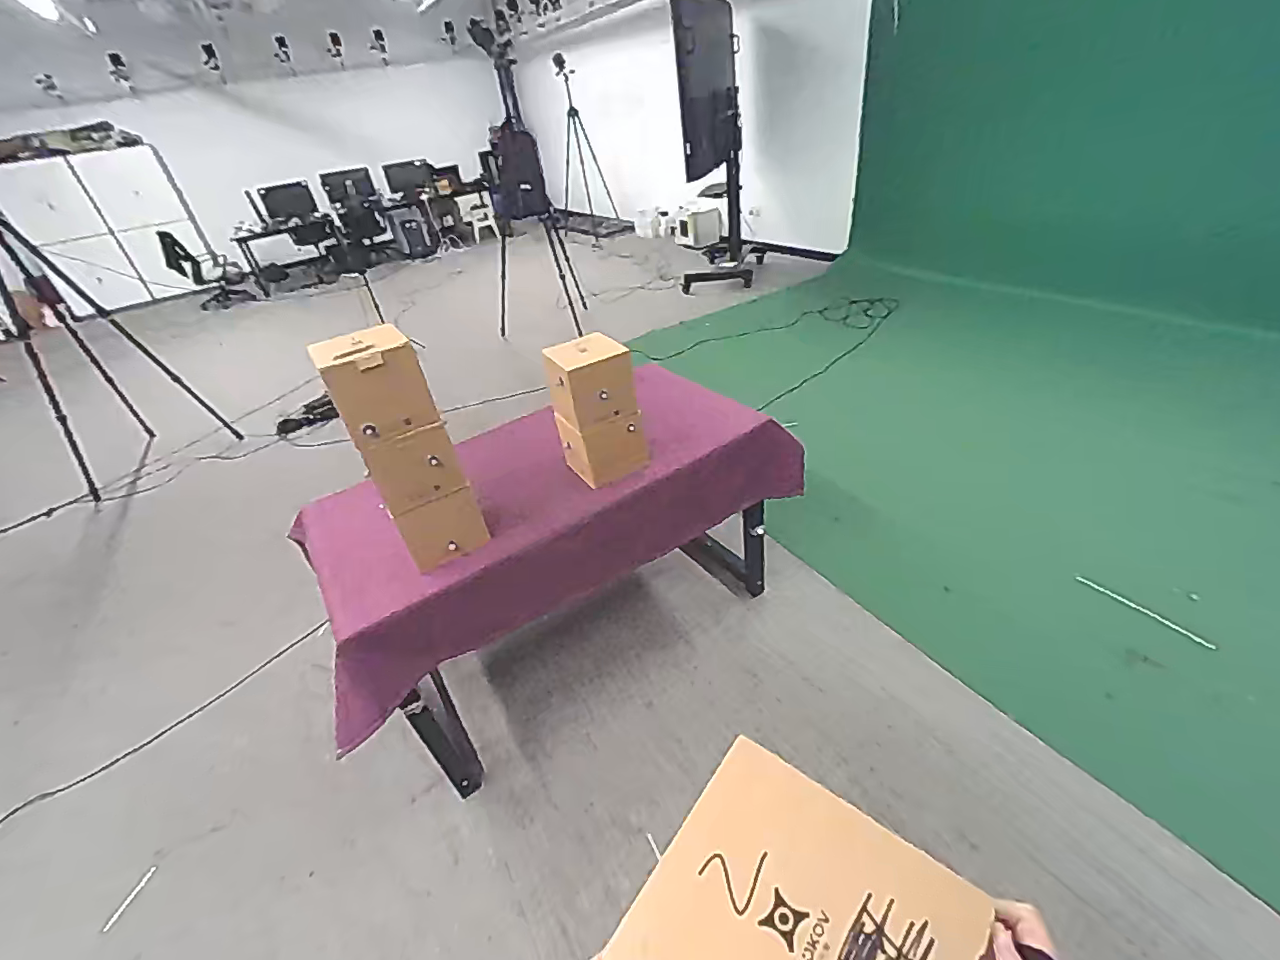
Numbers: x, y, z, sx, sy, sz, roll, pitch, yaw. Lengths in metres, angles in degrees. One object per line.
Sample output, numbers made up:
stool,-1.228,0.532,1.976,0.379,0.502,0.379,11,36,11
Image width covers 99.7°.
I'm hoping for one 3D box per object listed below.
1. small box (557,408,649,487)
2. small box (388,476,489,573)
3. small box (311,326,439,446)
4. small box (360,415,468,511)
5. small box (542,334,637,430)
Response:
small box,-0.094,-0.105,1.434,0.179,0.176,0.168,-25,37,-21
small box,-0.468,0.082,1.259,0.179,0.176,0.168,-25,37,-22
small box,-0.523,-0.186,1.079,0.168,0.176,0.179,-26,37,-23
small box,-0.492,-0.053,1.171,0.168,0.176,0.179,-24,37,-21
small box,-0.121,-0.241,1.344,0.168,0.176,0.179,-23,37,-20
